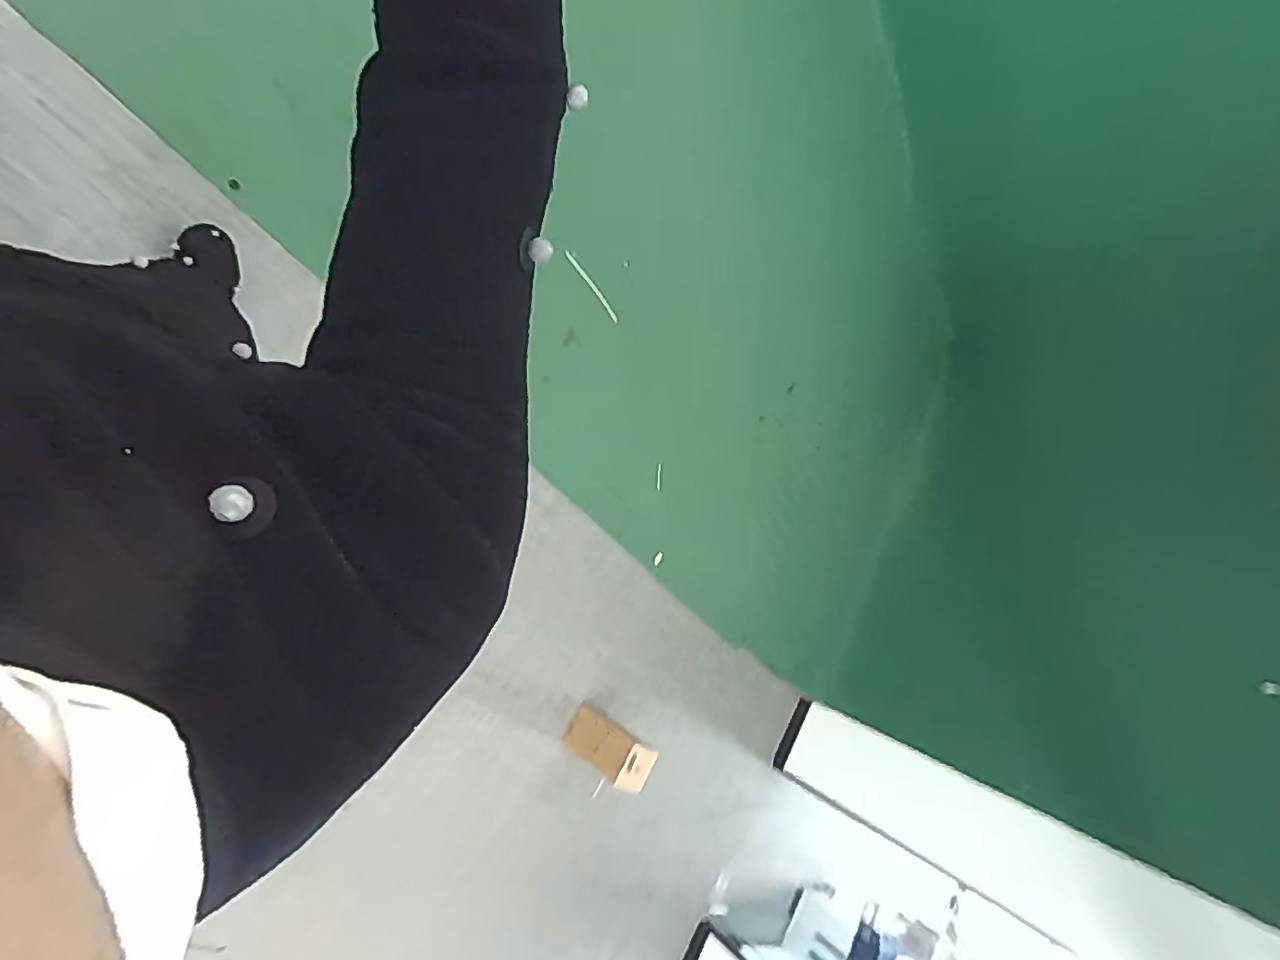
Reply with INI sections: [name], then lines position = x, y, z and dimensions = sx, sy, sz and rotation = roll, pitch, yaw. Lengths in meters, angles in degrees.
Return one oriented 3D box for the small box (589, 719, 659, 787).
[small box]
position = -0.066, 1.057, 2.106
dimensions = 0.179, 0.176, 0.168
rotation = 44, 69, -41
